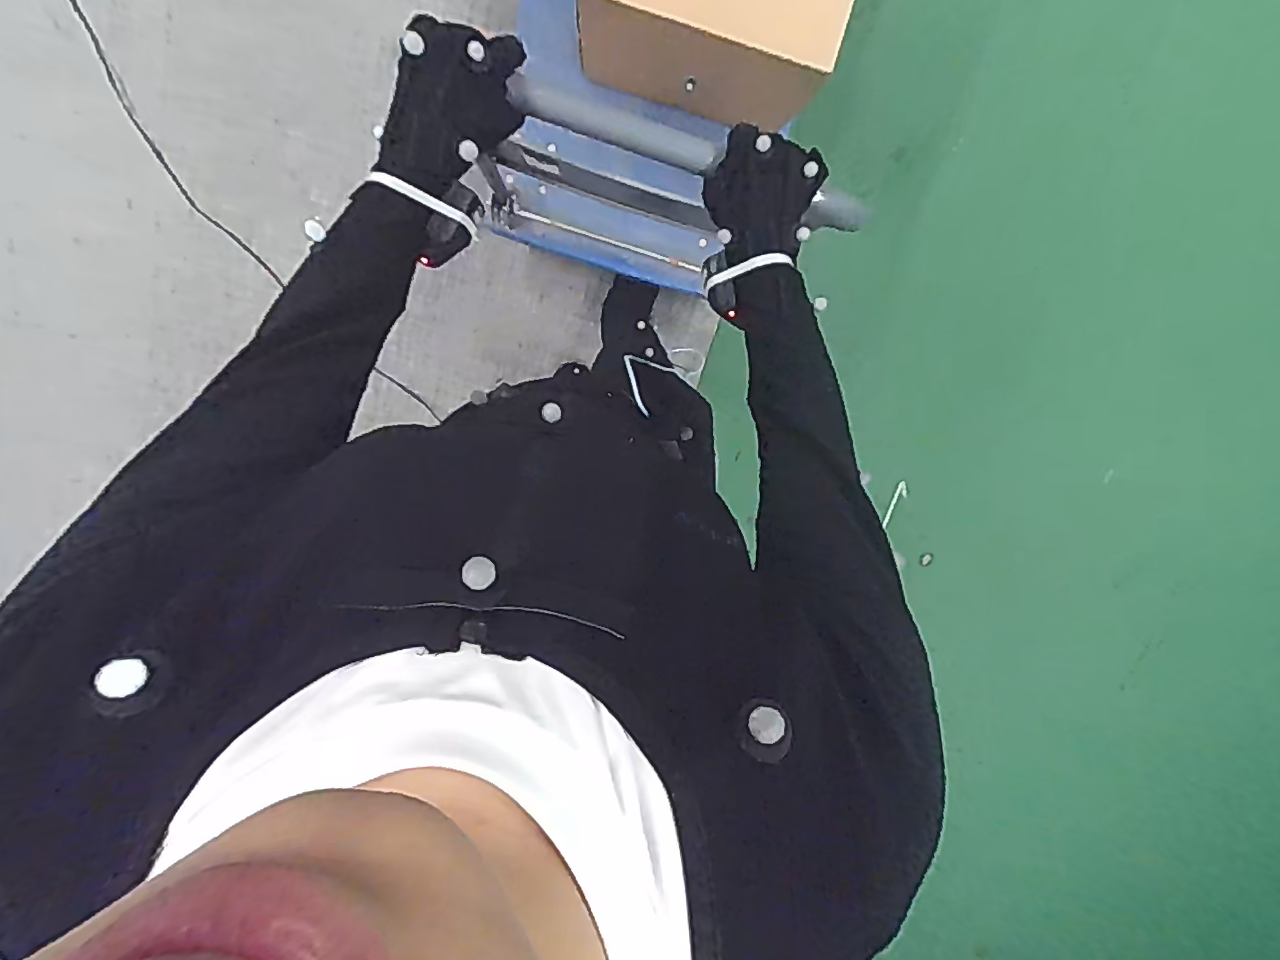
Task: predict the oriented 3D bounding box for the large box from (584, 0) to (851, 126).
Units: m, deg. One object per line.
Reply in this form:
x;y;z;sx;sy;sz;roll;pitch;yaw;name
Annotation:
0.137;-0.867;0.921;0.408;0.320;0.320;12;105;-6;large box
